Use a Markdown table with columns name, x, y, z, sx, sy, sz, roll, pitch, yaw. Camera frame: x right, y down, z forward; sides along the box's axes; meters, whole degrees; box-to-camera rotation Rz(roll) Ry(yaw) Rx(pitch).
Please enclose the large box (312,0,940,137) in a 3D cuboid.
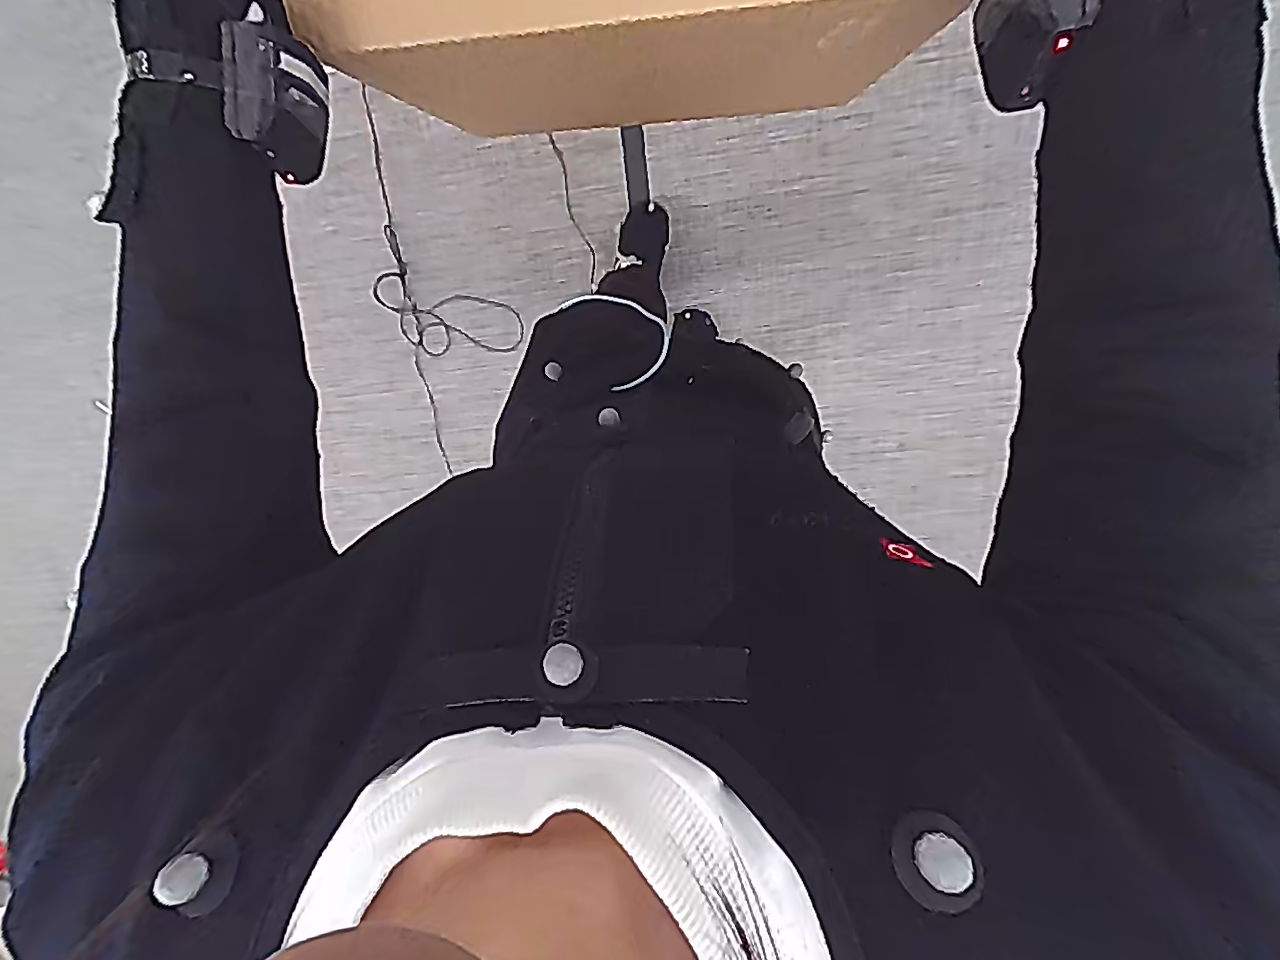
| name | x | y | z | sx | sy | sz | roll | pitch | yaw |
| --- | --- | --- | --- | --- | --- | --- | --- | --- | --- |
| large box | -0.005 | -0.474 | 0.392 | 0.408 | 0.320 | 0.320 | -3 | 115 | 4 |
